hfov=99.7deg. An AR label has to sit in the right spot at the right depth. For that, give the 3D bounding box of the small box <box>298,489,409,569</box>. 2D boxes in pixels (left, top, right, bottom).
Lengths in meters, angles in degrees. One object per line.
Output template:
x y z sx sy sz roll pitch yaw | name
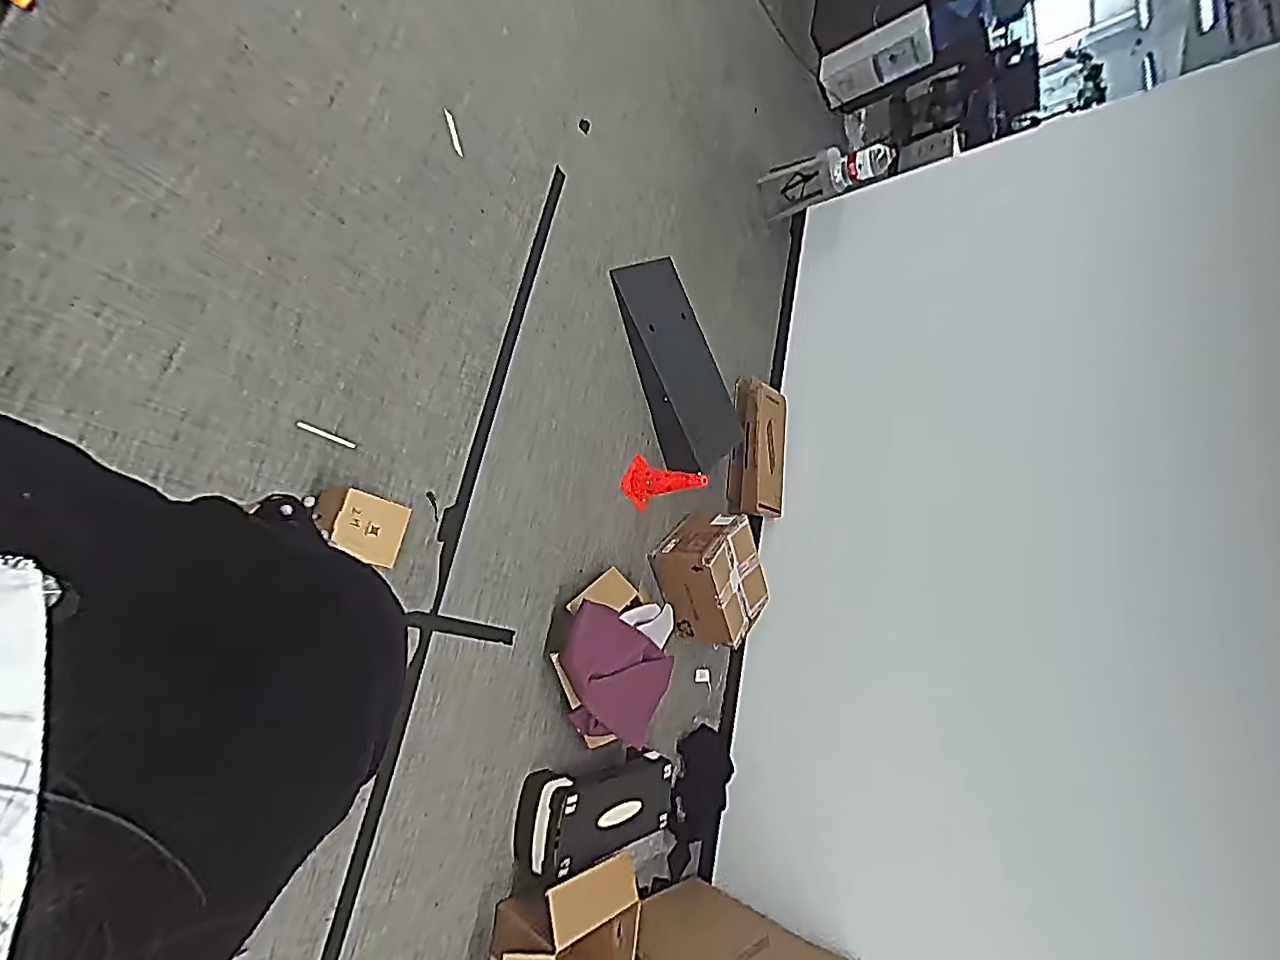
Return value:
-0.747 0.126 1.414 0.179 0.176 0.168 31 64 -46 | small box
